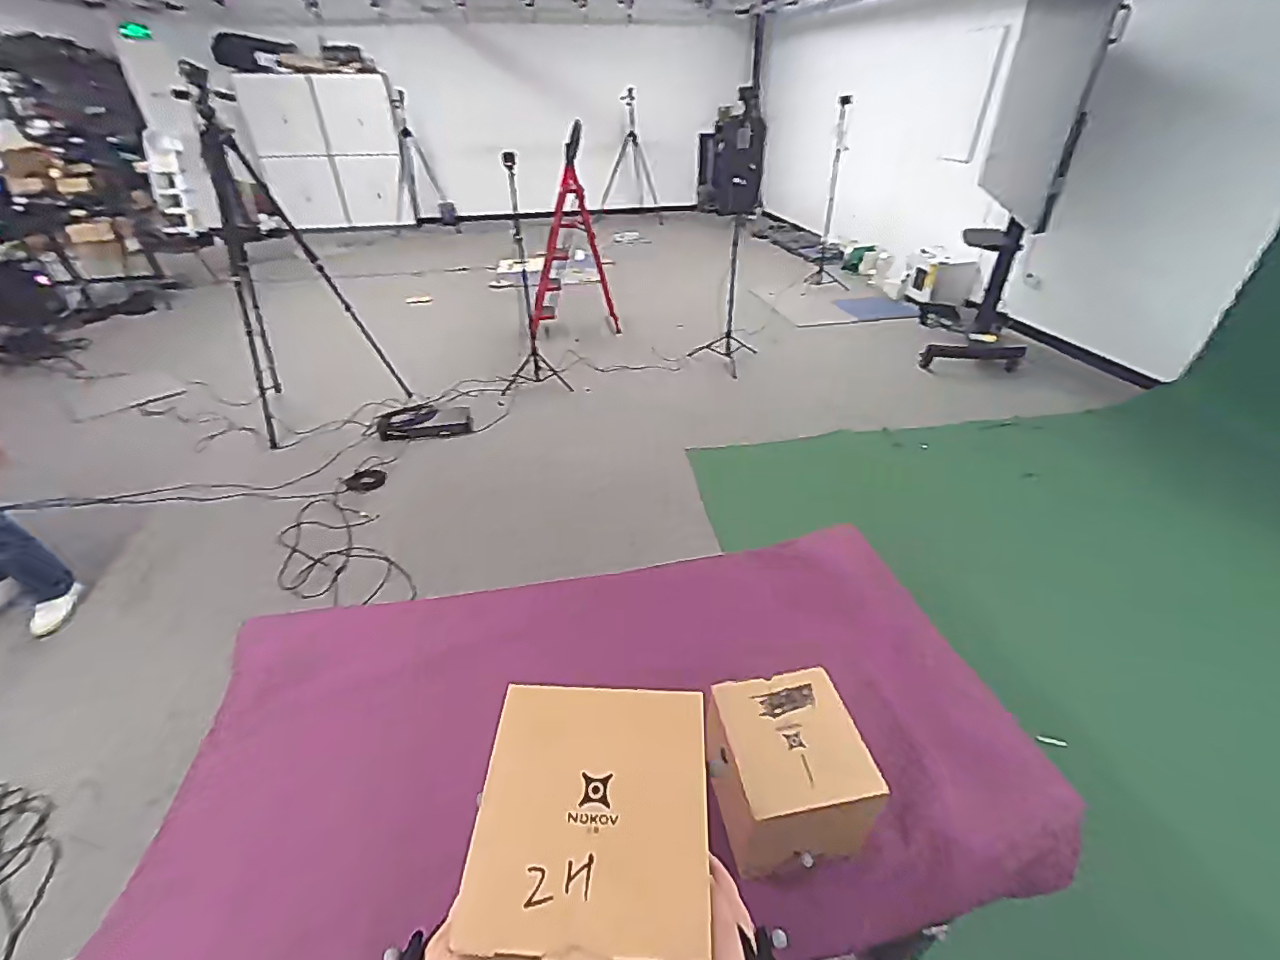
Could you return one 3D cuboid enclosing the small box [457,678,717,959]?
[{"bbox_3d":[-0.028,0.289,0.446,0.168,0.176,0.179,2,43,4],"label":"small box"}]

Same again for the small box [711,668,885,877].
[{"bbox_3d":[0.189,0.386,0.724,0.168,0.176,0.179,-7,36,-8],"label":"small box"}]
